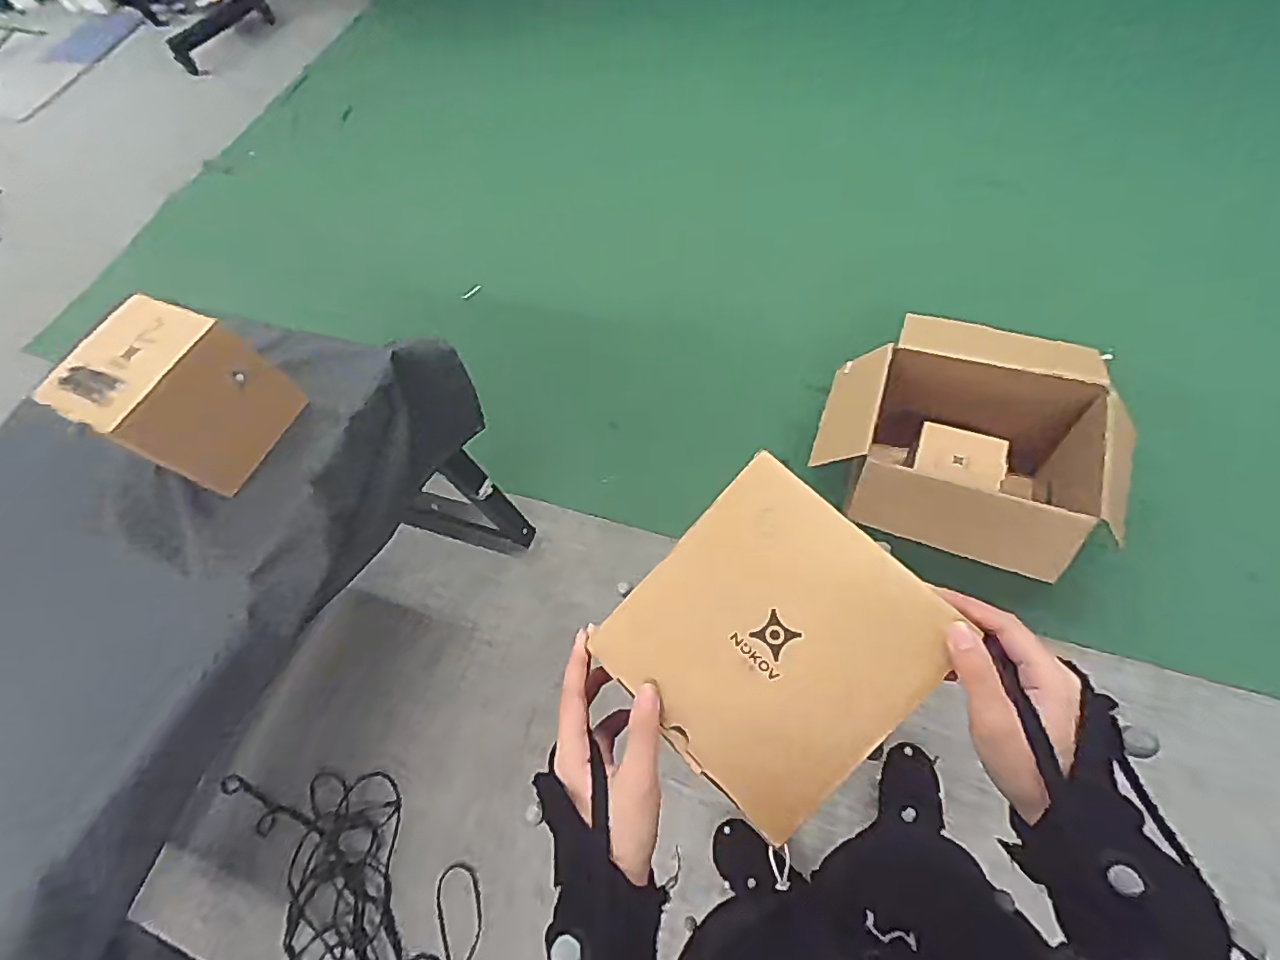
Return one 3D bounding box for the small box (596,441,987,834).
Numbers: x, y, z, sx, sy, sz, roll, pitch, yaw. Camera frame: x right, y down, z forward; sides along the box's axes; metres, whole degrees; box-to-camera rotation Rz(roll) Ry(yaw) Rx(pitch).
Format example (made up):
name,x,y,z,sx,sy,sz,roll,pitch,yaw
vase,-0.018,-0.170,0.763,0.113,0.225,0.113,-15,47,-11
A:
name,x,y,z,sx,sy,sz,roll,pitch,yaw
small box,0.099,0.099,0.404,0.168,0.176,0.179,43,93,13
